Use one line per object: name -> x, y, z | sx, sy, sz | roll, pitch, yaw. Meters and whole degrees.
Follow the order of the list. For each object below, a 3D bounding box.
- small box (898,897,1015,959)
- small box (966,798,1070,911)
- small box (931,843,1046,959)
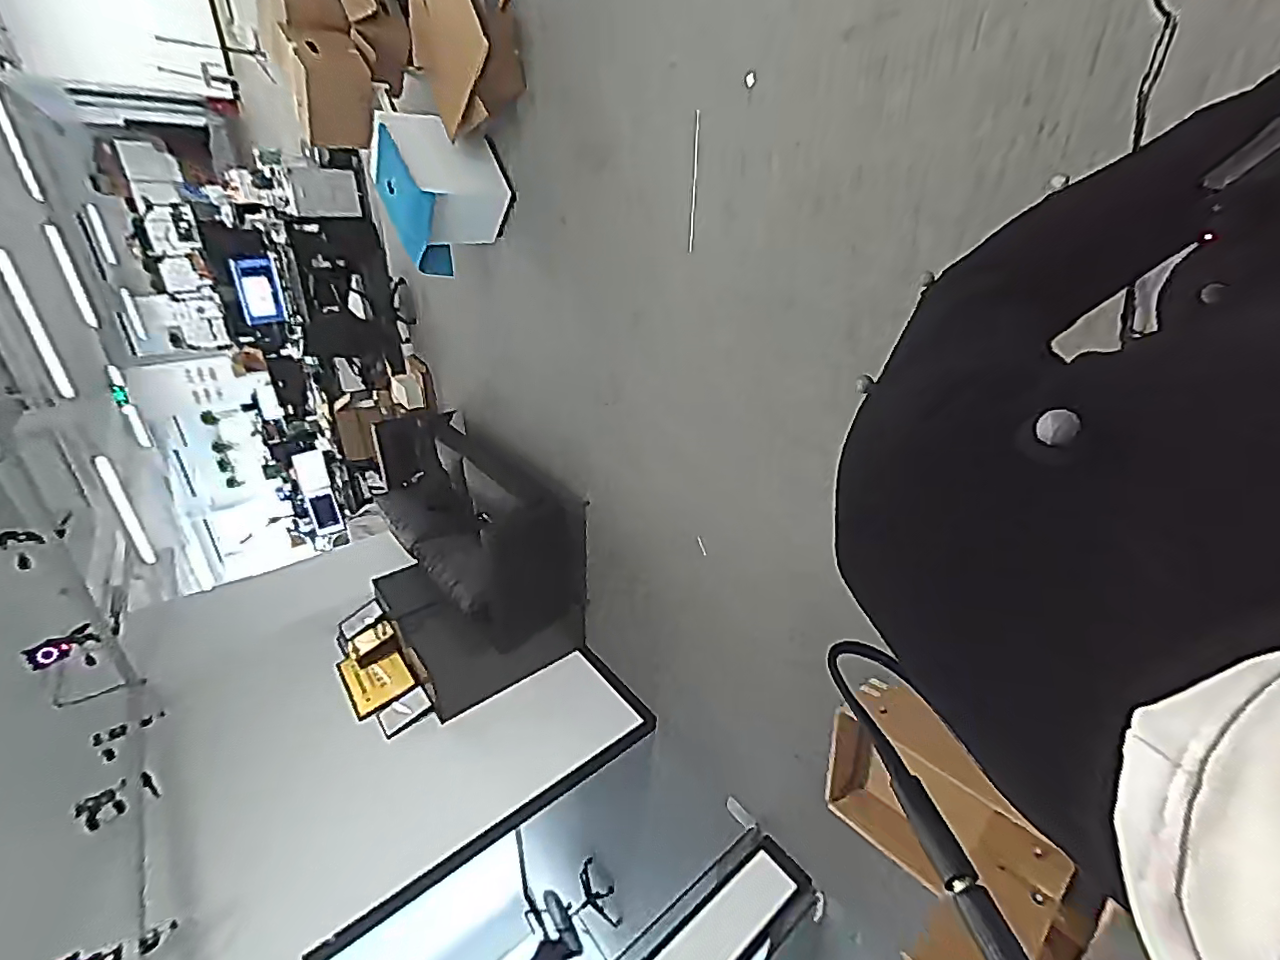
small box -> 0.611, 0.987, 1.062 | 0.168, 0.176, 0.179 | 29, 128, 42
small box -> 0.860, 0.890, 1.251 | 0.168, 0.176, 0.179 | 23, 125, 45
small box -> 0.733, 0.936, 1.157 | 0.168, 0.176, 0.179 | 28, 128, 43
